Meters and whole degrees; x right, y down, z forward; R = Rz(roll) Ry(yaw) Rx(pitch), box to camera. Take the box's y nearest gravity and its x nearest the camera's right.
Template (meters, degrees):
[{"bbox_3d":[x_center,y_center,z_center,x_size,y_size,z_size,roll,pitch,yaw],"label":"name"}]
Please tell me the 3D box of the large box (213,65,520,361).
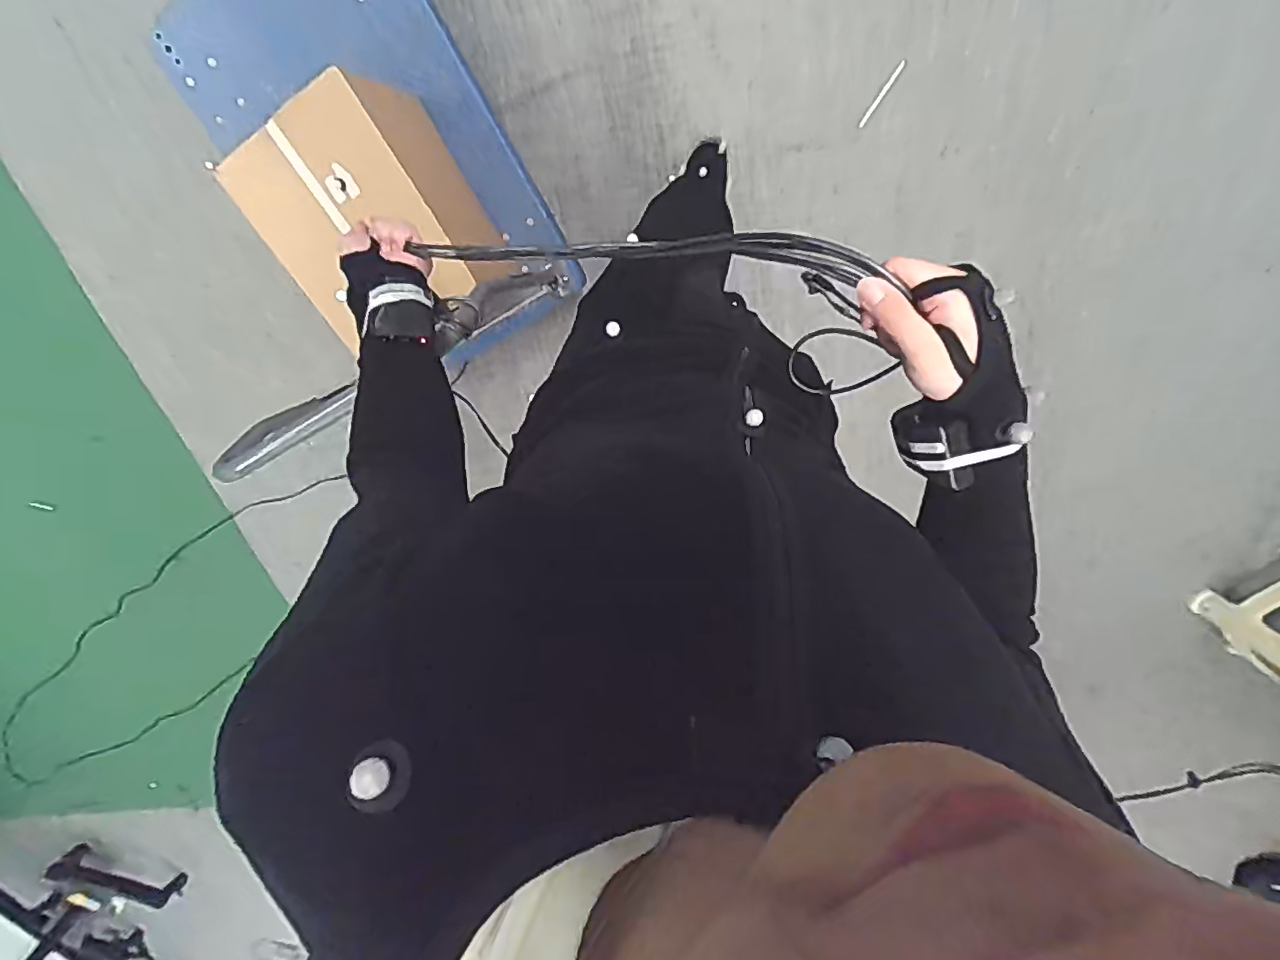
[{"bbox_3d":[-0.517,-0.522,1.116,0.320,0.320,0.408,-26,112,15],"label":"large box"}]
